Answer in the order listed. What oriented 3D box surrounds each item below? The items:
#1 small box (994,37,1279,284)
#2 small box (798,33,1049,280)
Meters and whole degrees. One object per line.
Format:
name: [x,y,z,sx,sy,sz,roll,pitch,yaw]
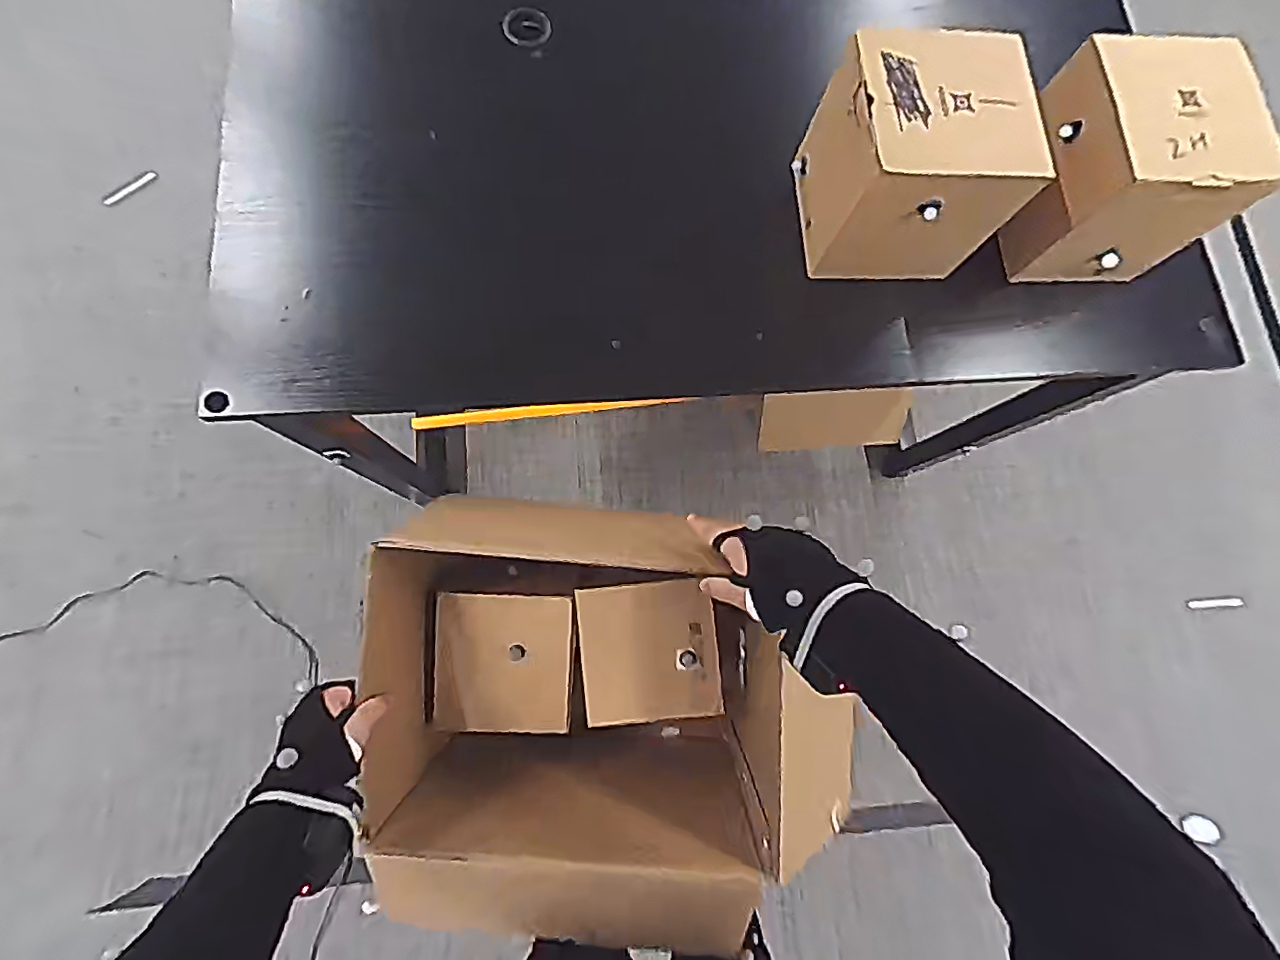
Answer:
small box: [0.529,-0.347,0.611,0.168,0.176,0.179,-2,77,-4]
small box: [0.285,-0.336,0.590,0.179,0.176,0.168,-2,78,-6]
